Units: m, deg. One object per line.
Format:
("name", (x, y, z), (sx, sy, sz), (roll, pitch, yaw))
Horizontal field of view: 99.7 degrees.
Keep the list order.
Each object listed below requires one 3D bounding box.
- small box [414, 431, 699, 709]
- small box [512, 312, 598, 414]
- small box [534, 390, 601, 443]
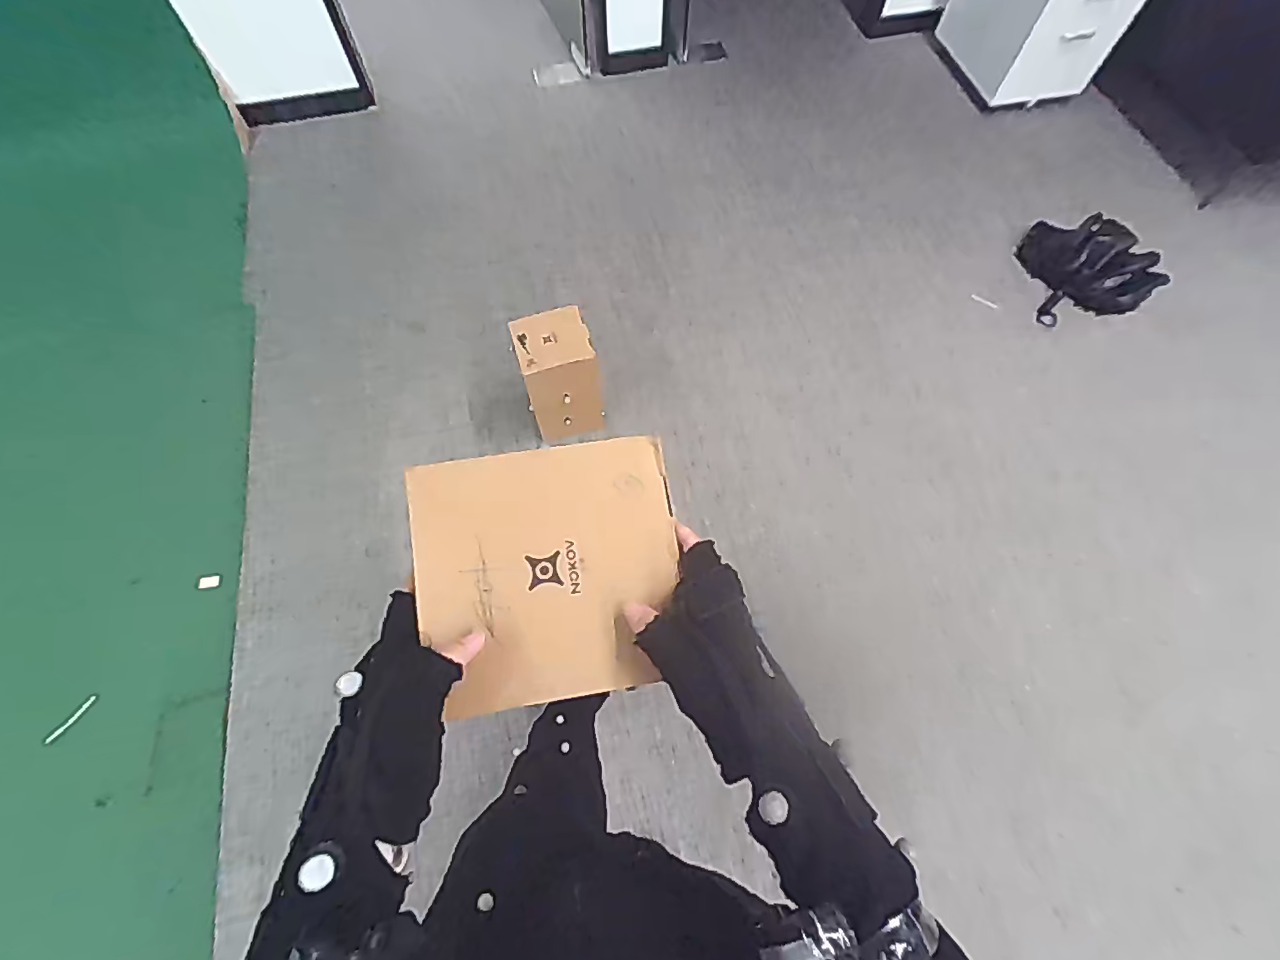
("small box", (-0.063, 0.070, 0.443), (0.179, 0.176, 0.168), (-9, 79, -5))
("small box", (-0.207, -0.289, 1.357), (0.179, 0.176, 0.168), (-15, 67, -8))
("small box", (-0.207, -0.224, 1.508), (0.179, 0.176, 0.168), (-13, 66, -6))
